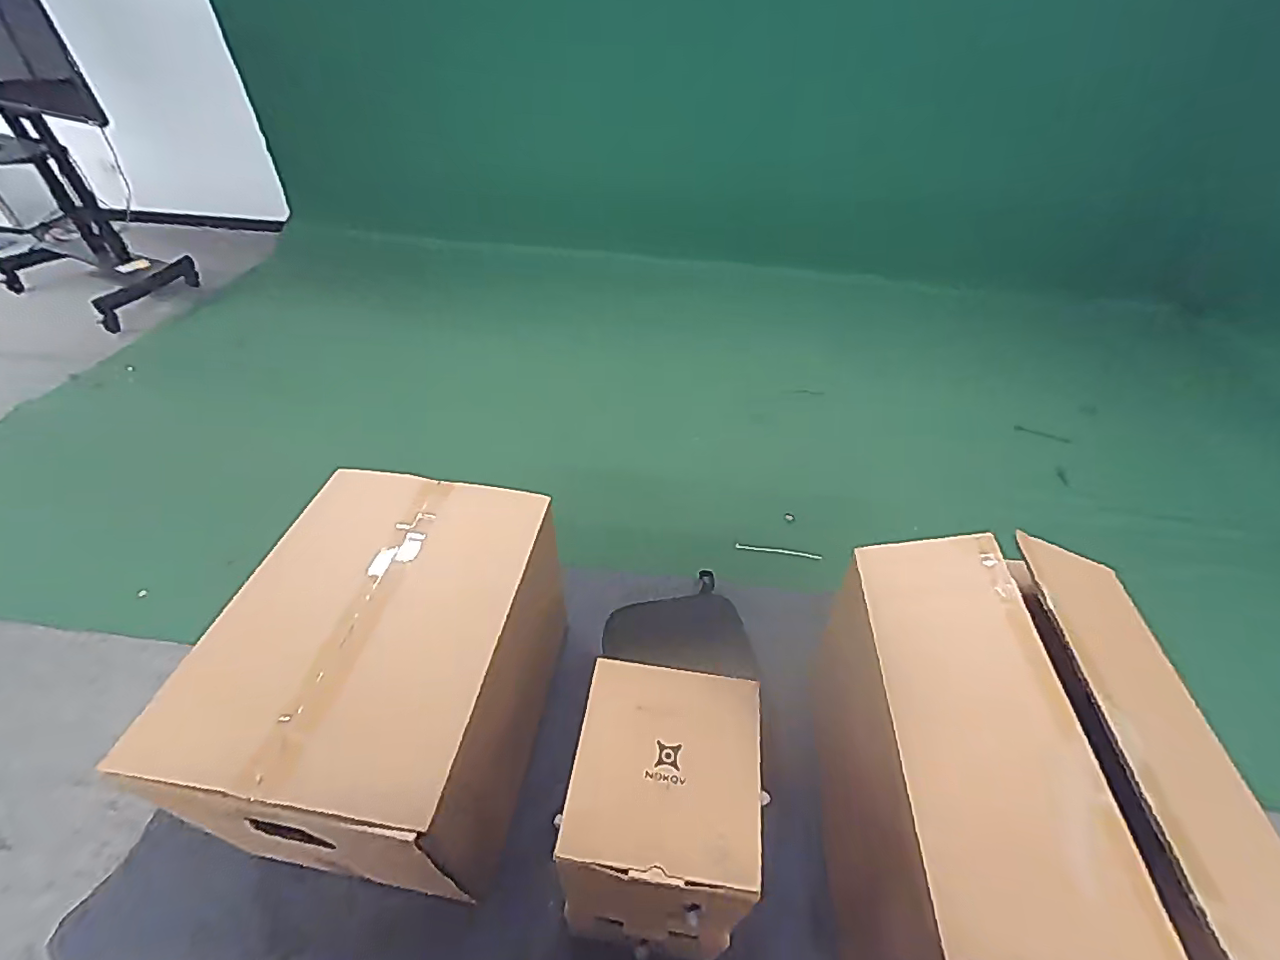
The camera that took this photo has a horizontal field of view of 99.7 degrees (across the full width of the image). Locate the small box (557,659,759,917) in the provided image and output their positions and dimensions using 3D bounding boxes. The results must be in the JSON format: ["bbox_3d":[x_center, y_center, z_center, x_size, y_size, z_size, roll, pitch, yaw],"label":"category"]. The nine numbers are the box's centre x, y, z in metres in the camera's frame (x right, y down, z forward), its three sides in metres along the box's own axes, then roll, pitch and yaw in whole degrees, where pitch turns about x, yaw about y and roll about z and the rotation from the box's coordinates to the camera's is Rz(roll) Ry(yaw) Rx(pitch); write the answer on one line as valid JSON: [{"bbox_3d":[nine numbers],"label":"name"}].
[{"bbox_3d":[0.022,0.310,0.543,0.168,0.176,0.179,7,43,3],"label":"small box"}]
